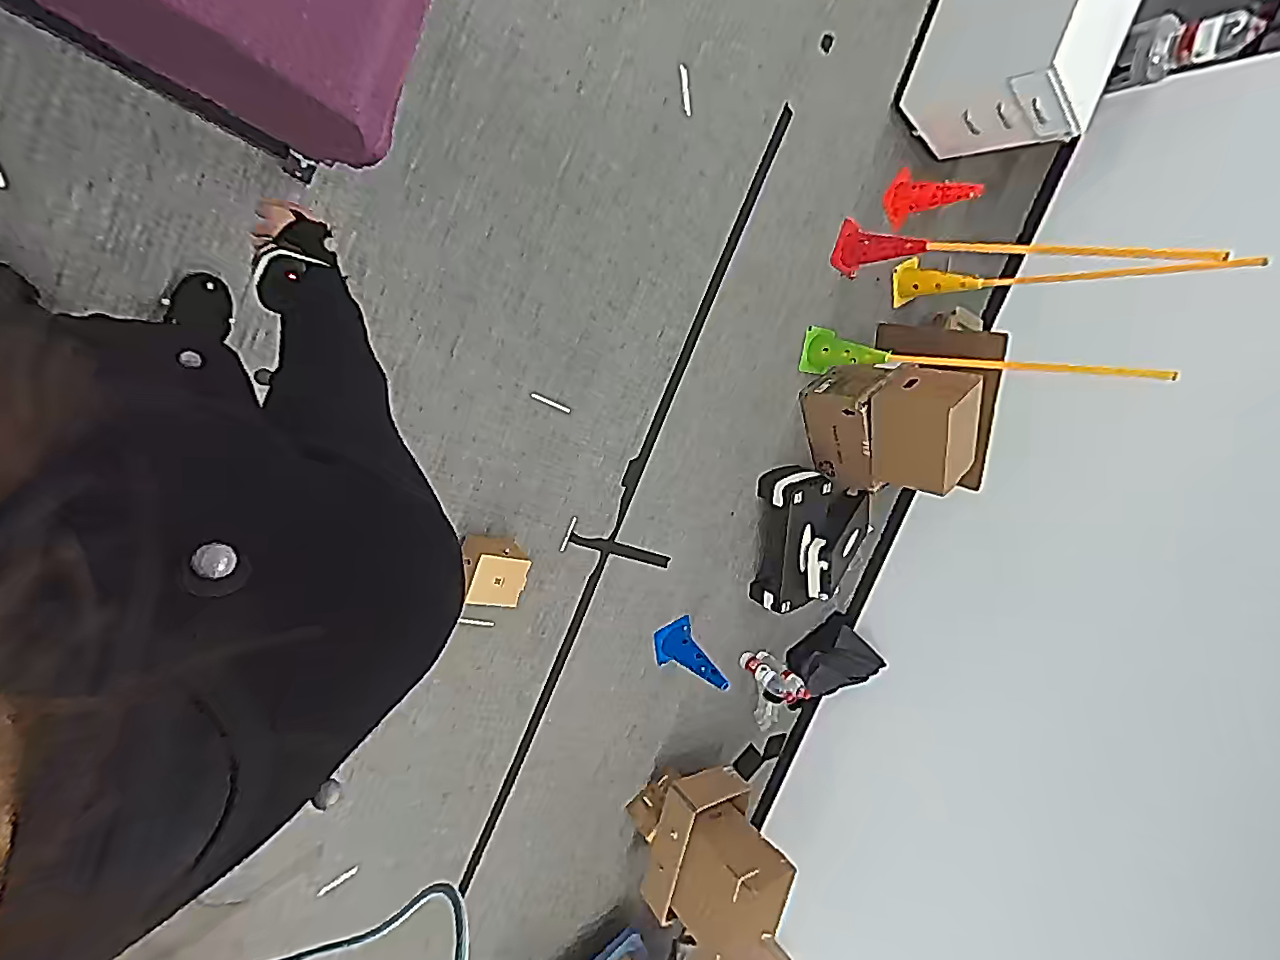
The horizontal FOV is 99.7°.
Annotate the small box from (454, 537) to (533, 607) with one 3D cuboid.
[{"bbox_3d":[-0.479,0.293,1.744,0.179,0.176,0.168,15,98,-39],"label":"small box"}]
